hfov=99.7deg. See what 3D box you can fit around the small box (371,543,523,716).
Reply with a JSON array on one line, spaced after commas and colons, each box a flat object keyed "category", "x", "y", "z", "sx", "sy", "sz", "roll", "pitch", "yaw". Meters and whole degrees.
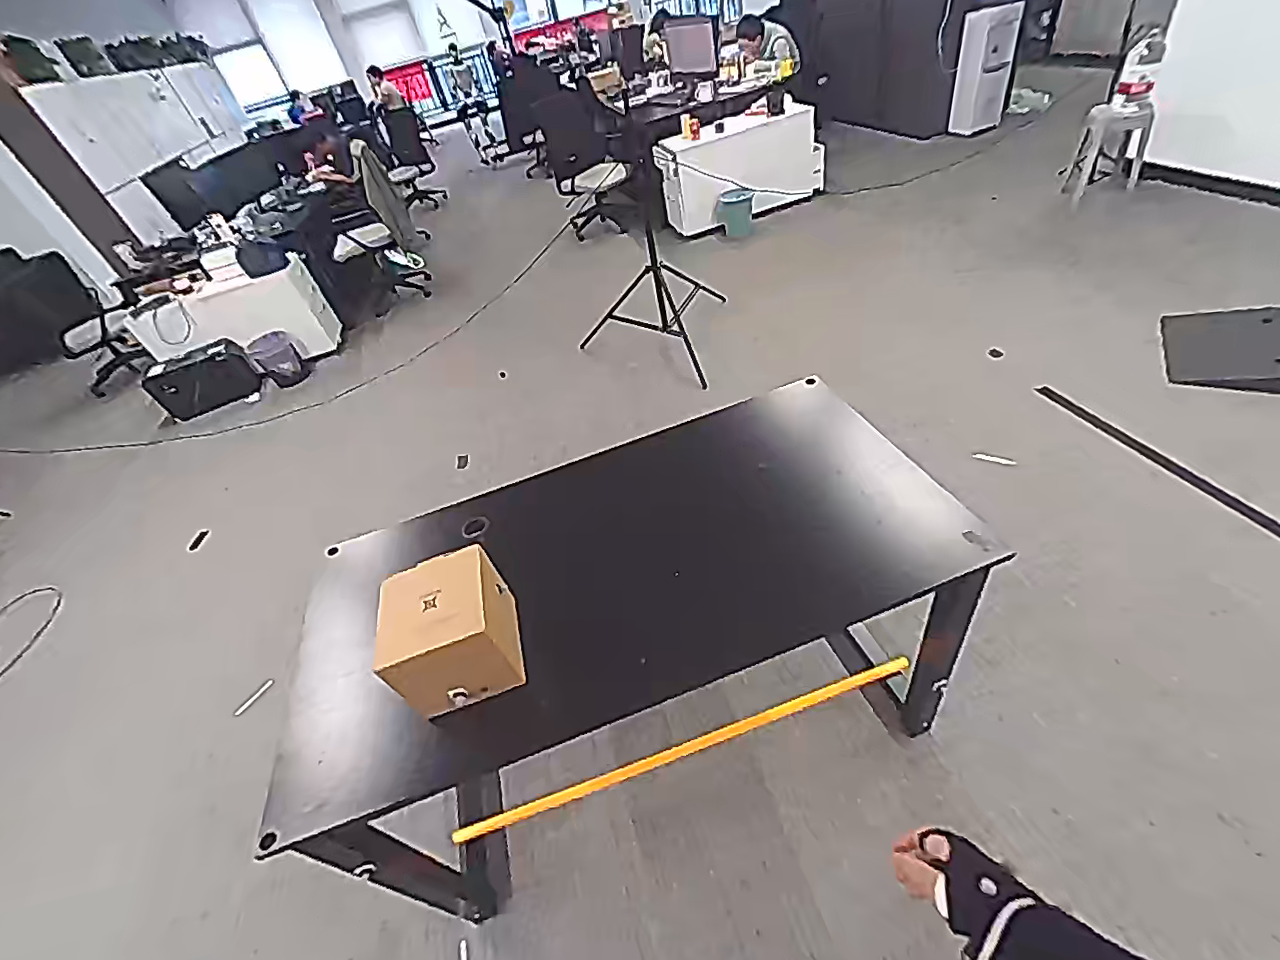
[{"category": "small box", "x": -0.299, "y": 0.238, "z": 0.861, "sx": 0.168, "sy": 0.176, "sz": 0.179, "roll": -20, "pitch": 43, "yaw": -4}]
